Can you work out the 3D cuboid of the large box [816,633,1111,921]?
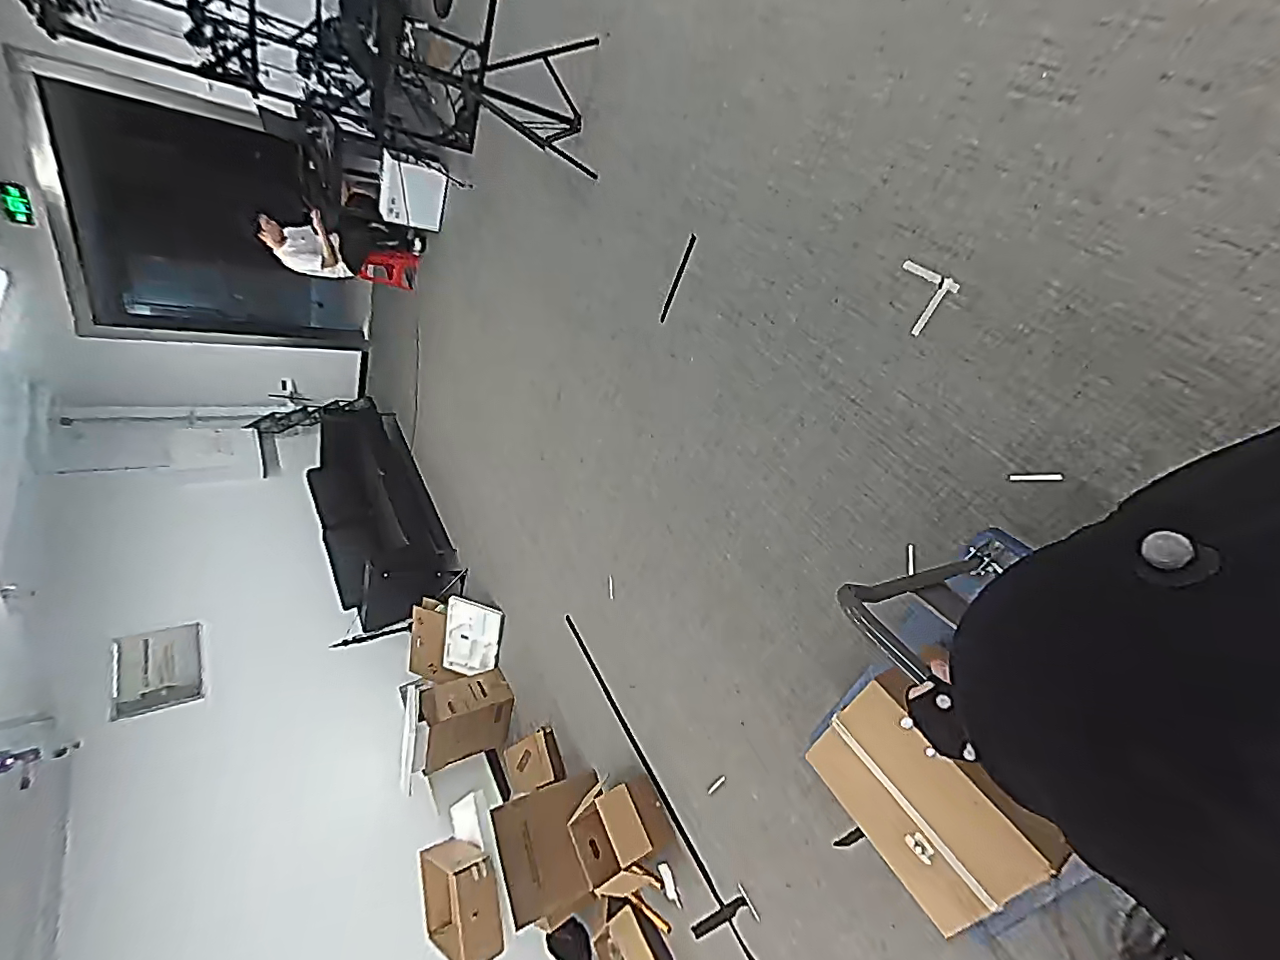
[{"bbox_3d":[0.690,0.619,1.195,0.408,0.320,0.320,48,131,37],"label":"large box"}]
